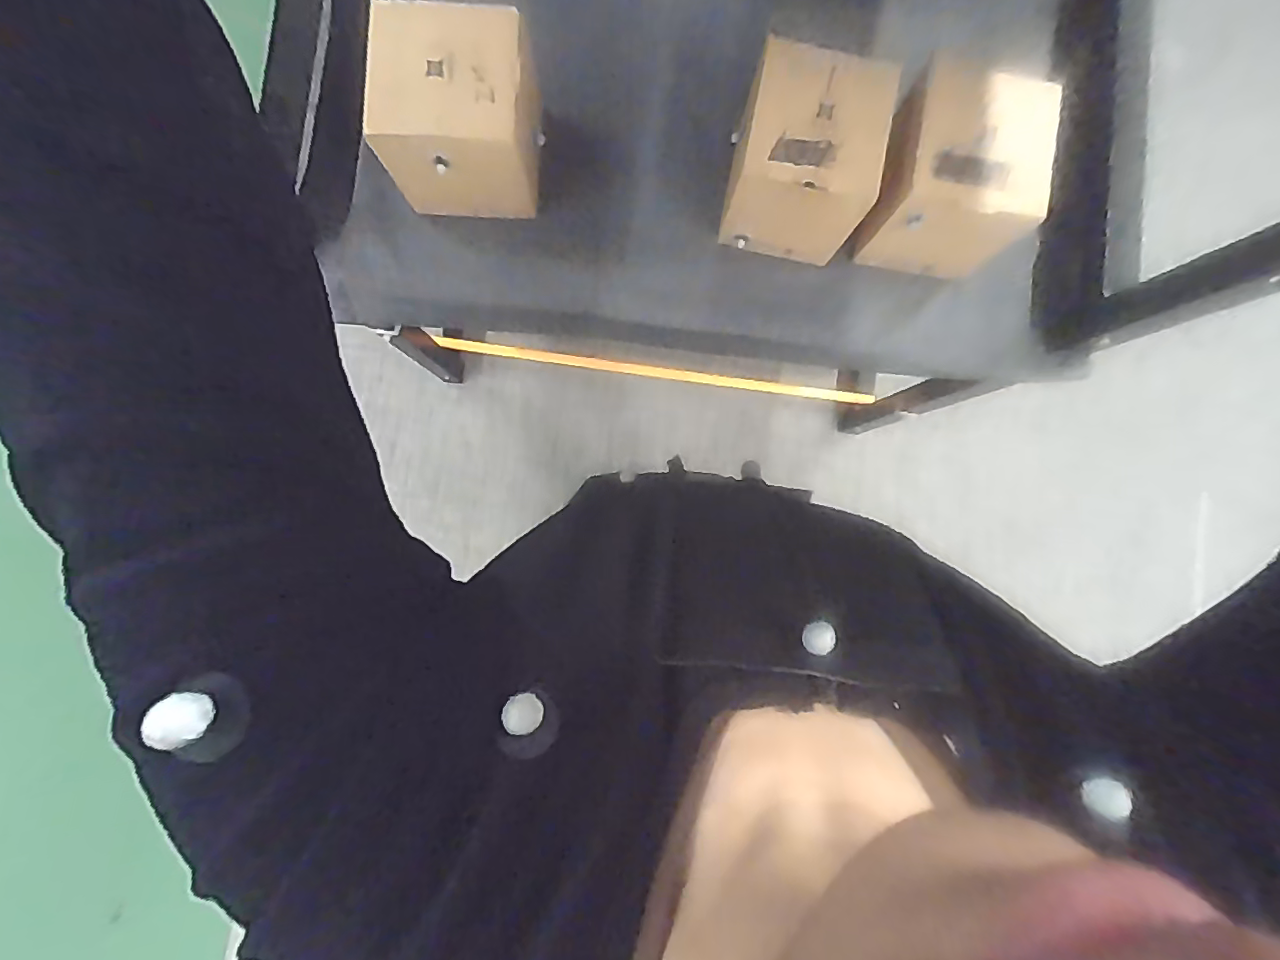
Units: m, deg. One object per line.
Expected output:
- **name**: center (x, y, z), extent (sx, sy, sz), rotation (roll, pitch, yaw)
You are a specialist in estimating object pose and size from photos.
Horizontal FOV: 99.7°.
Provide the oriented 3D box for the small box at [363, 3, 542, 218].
- **small box**: center (-0.232, -0.468, 0.709), extent (0.179, 0.176, 0.168), rotation (3, 87, -2)
